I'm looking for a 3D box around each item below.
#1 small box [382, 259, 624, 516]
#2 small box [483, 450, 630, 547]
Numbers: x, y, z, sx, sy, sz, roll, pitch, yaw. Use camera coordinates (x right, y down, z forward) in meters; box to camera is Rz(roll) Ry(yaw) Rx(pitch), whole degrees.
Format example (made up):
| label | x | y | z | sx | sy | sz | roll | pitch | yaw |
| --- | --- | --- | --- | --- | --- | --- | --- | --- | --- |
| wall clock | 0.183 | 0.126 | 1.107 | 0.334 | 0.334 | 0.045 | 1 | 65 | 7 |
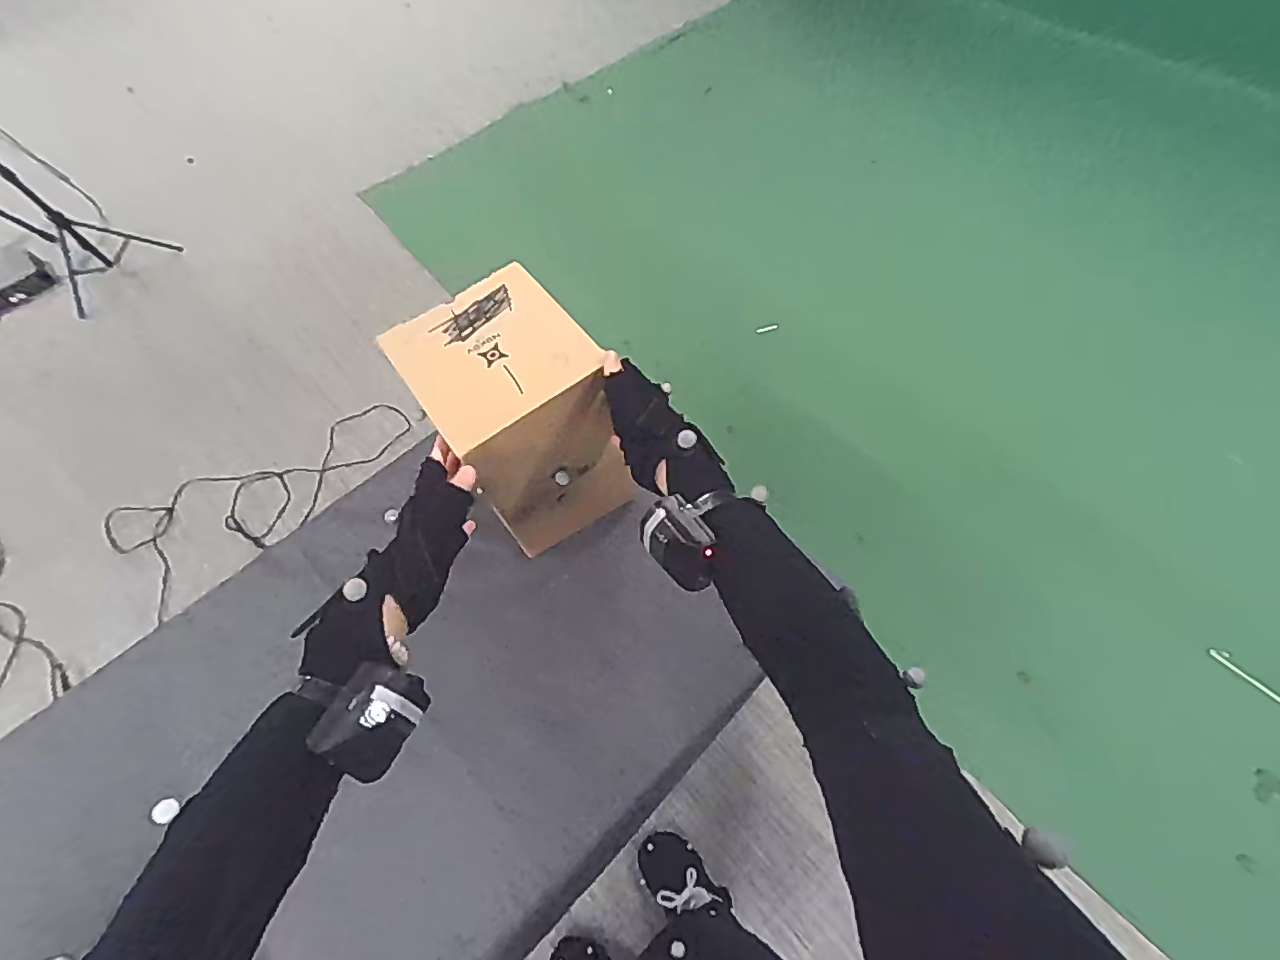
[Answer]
| label | x | y | z | sx | sy | sz | roll | pitch | yaw |
| --- | --- | --- | --- | --- | --- | --- | --- | --- | --- |
| small box | -0.134 | -0.091 | 0.582 | 0.168 | 0.176 | 0.179 | -35 | 67 | -13 |
| small box | -0.128 | -0.034 | 0.737 | 0.179 | 0.176 | 0.168 | -29 | 65 | -11 |
